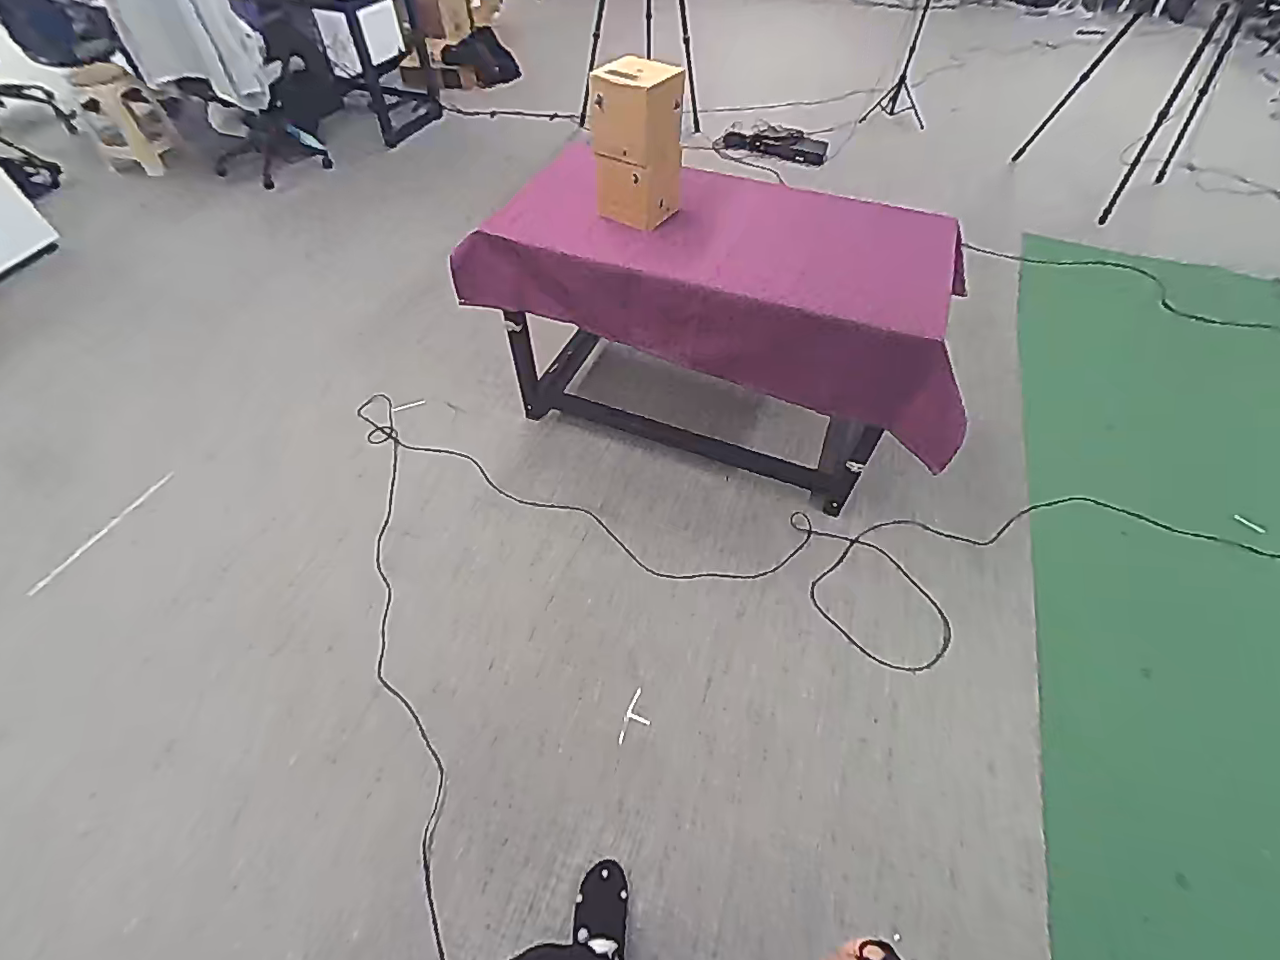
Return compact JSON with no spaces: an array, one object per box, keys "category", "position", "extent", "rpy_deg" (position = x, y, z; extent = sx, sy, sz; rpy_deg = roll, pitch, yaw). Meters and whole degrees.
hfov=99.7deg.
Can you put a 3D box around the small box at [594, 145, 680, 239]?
[{"category":"small box","position":[-0.011,-0.795,1.498],"extent":[0.179,0.176,0.168],"rpy_deg":[28,56,19]}]
